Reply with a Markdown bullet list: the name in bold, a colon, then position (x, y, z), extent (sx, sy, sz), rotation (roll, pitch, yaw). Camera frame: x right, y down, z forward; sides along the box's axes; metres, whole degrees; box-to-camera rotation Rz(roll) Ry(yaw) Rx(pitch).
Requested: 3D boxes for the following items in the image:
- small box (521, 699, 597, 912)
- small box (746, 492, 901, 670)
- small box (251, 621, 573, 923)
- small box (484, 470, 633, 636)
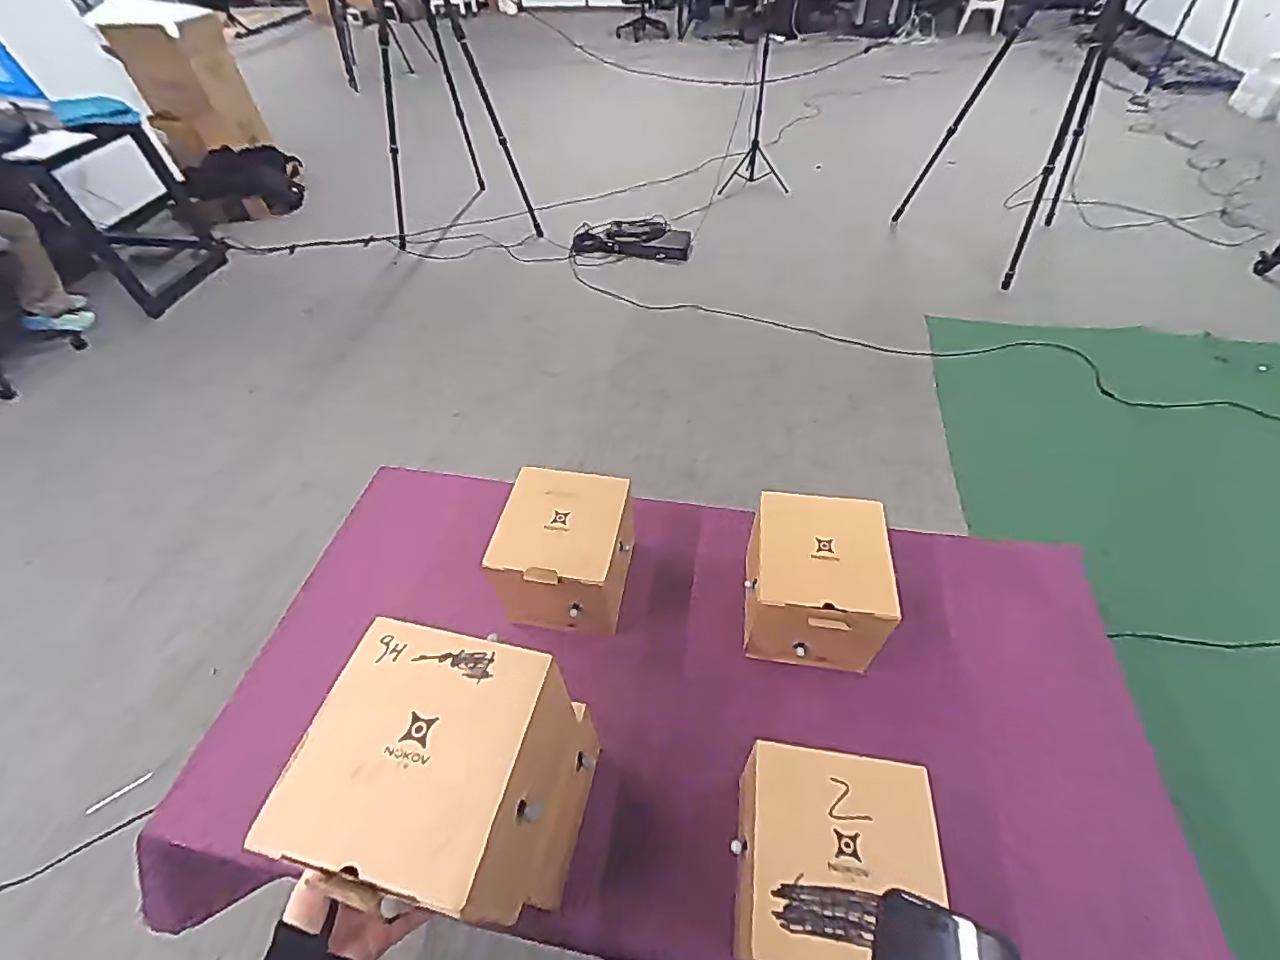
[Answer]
- **small box**: position (-0.150, 0.346, 0.600), extent (0.168, 0.176, 0.179), rotation (8, 50, 11)
- **small box**: position (0.240, 0.141, 0.755), extent (0.168, 0.176, 0.179), rotation (4, 51, 7)
- **small box**: position (-0.165, 0.250, 0.466), extent (0.168, 0.176, 0.179), rotation (9, 51, 10)
- **small box**: position (-0.105, 0.111, 0.799), extent (0.168, 0.176, 0.179), rotation (7, 50, 8)
